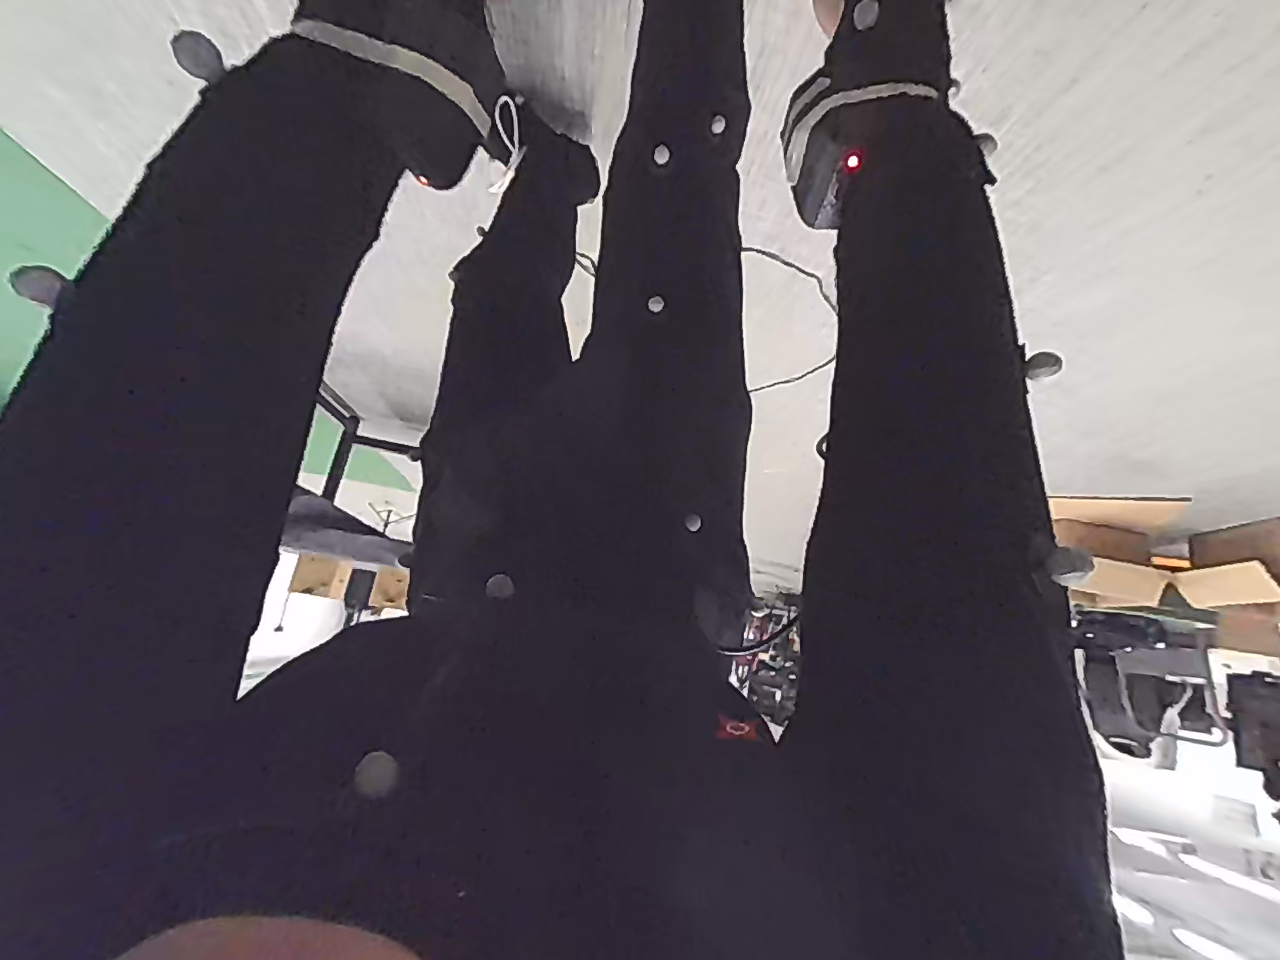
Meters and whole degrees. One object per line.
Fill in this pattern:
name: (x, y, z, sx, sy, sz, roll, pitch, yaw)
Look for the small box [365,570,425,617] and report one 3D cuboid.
small box: (-1.055, 0.494, 2.345, 0.168, 0.176, 0.179, 11, 164, -4)
